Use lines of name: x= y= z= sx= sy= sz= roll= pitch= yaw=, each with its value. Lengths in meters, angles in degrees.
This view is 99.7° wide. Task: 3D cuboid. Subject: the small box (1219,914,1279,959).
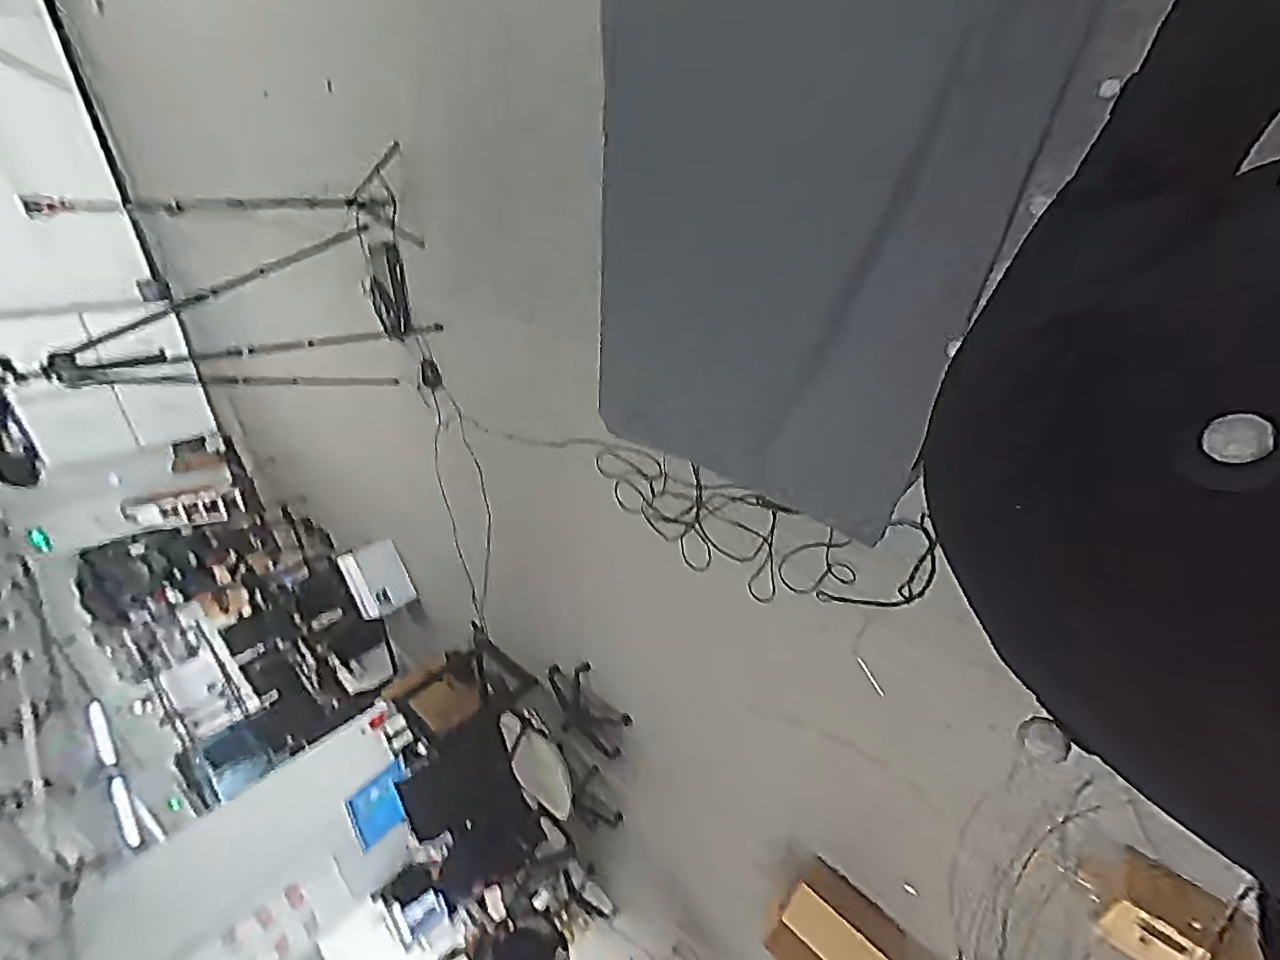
small box: x=1.482 y=1.167 z=1.242 sx=0.168 sy=0.176 sz=0.179 roll=21 pitch=124 yaw=35
